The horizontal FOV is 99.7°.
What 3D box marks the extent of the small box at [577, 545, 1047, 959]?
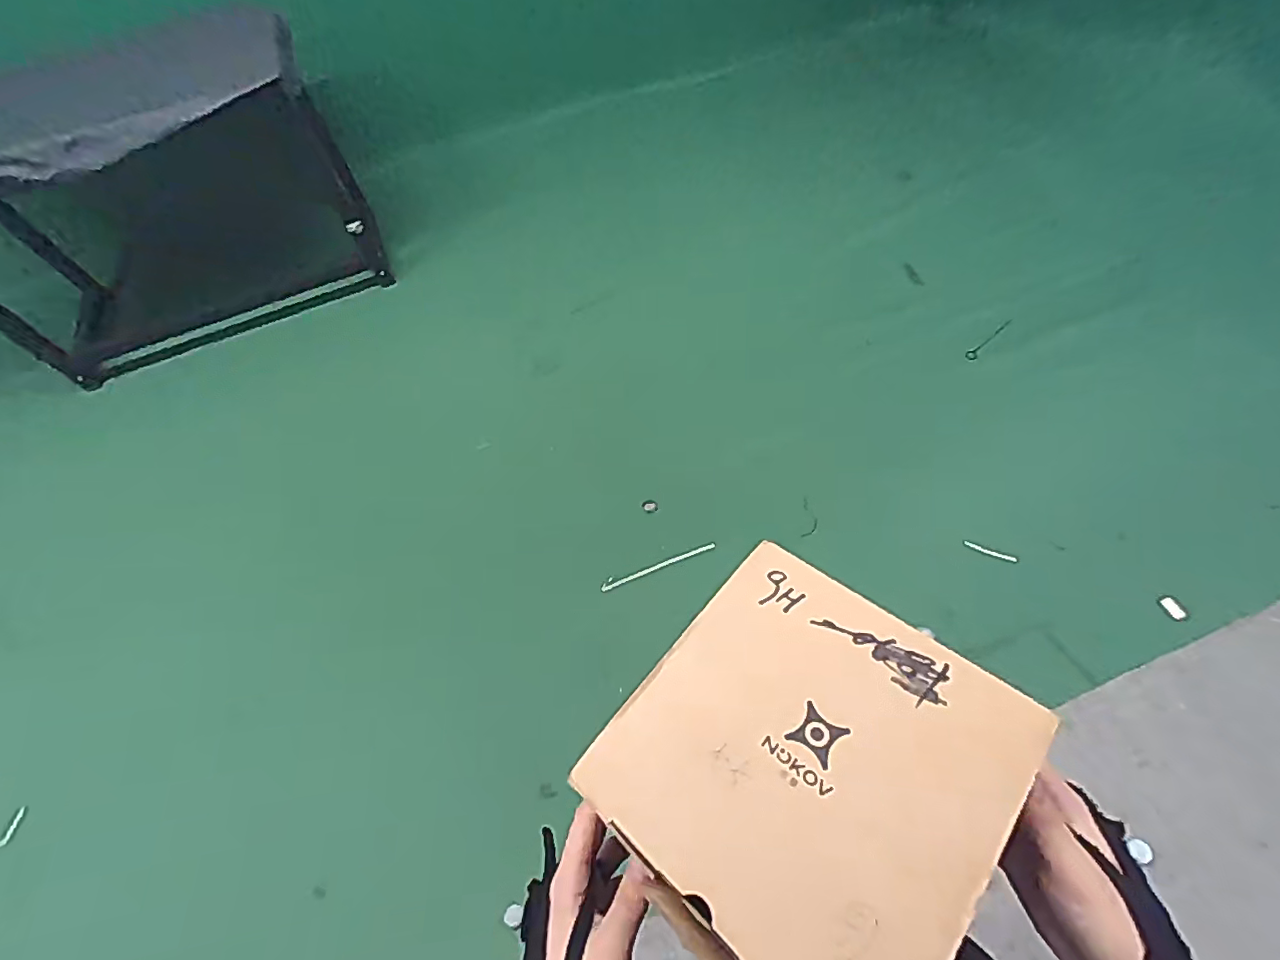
[{"bbox_3d":[0.094,0.181,0.331,0.168,0.176,0.179,32,65,30],"label":"small box"}]
